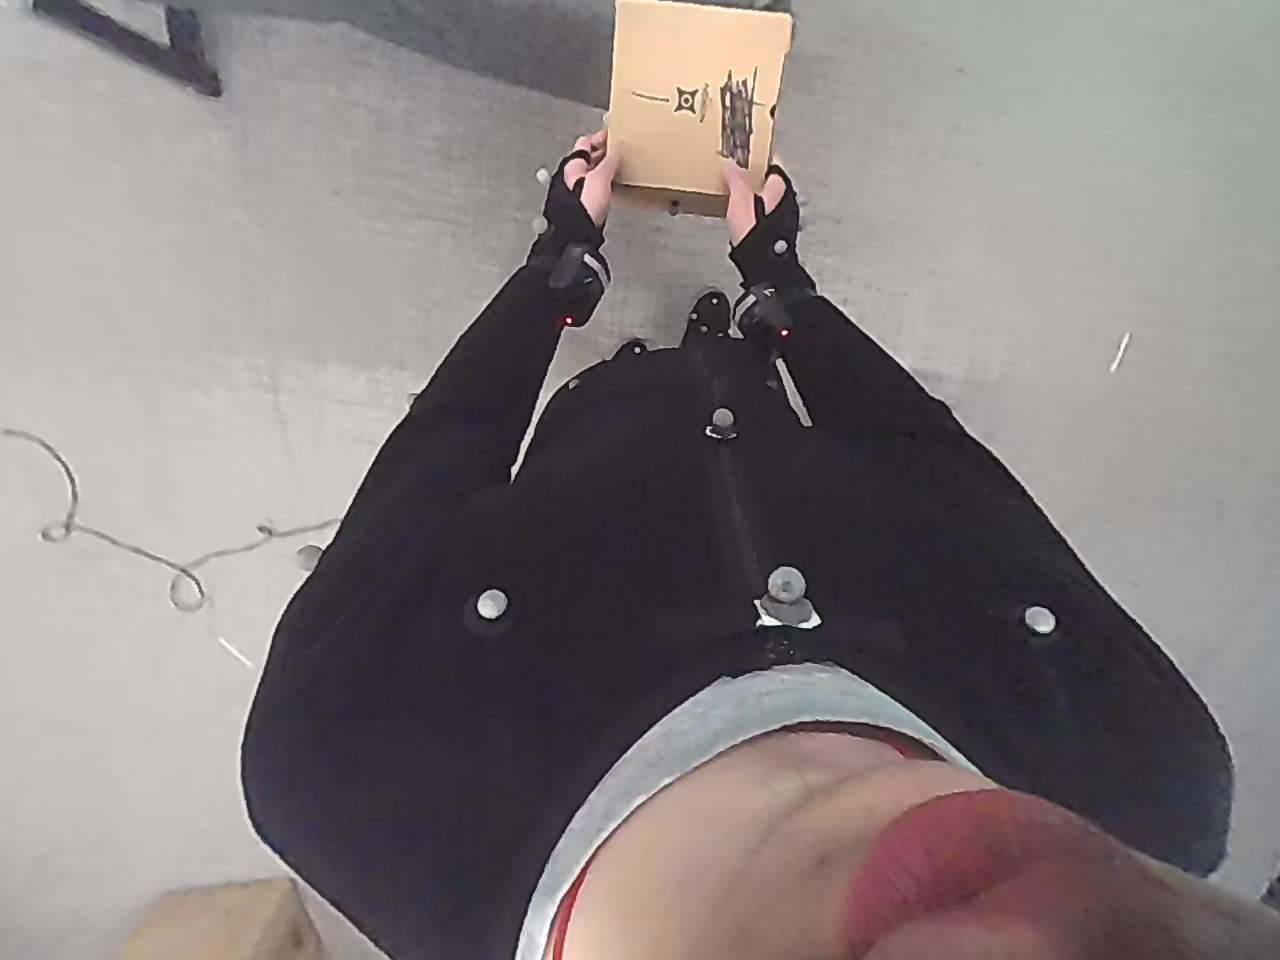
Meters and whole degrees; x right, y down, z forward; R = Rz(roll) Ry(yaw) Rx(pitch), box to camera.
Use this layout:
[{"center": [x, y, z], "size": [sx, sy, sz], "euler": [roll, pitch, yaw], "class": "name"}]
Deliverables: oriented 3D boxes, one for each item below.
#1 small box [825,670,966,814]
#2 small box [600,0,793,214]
[{"center": [0.478, 0.500, 1.045], "size": [0.168, 0.176, 0.179], "euler": [9, 107, -5], "class": "small box"}, {"center": [0.052, -0.410, 0.614], "size": [0.179, 0.176, 0.168], "euler": [6, 108, -2], "class": "small box"}]
